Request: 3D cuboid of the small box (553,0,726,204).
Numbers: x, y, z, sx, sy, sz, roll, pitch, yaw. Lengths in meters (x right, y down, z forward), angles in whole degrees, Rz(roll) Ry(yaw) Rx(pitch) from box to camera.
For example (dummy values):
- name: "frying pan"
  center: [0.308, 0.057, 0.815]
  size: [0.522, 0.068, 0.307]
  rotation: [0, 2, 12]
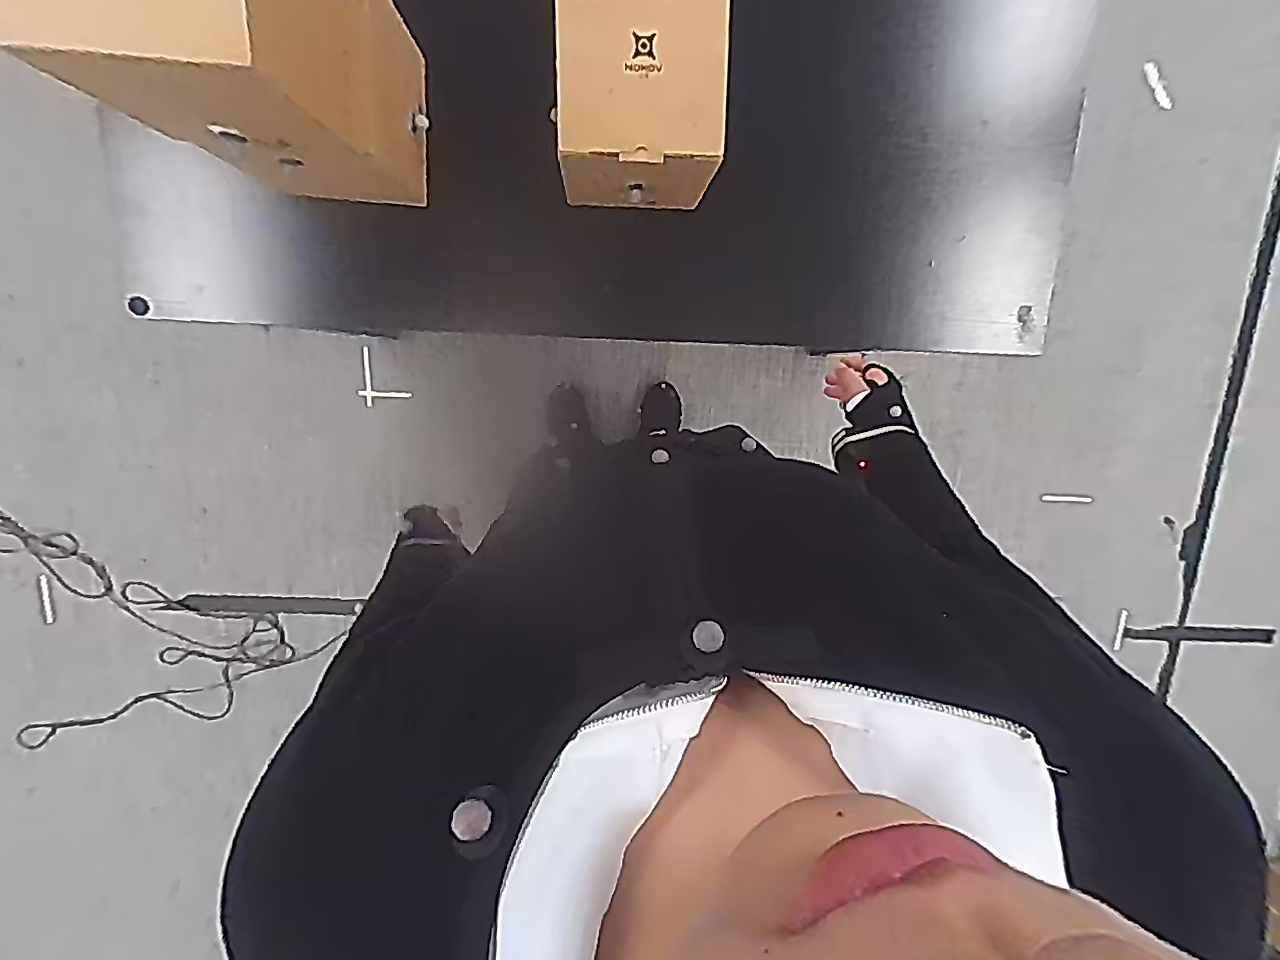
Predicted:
- name: "small box"
  center: [-0.005, -0.420, 0.596]
  size: [0.168, 0.176, 0.179]
  rotation: [0, 101, -4]

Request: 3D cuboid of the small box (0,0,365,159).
- name: "small box"
  center: [-0.332, -0.378, 0.415]
  size: [0.168, 0.176, 0.179]
  rotation: [2, 102, -3]

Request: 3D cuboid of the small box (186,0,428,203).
- name: "small box"
  center: [-0.341, -0.411, 0.574]
  size: [0.179, 0.176, 0.168]
  rotation: [2, 101, -5]
